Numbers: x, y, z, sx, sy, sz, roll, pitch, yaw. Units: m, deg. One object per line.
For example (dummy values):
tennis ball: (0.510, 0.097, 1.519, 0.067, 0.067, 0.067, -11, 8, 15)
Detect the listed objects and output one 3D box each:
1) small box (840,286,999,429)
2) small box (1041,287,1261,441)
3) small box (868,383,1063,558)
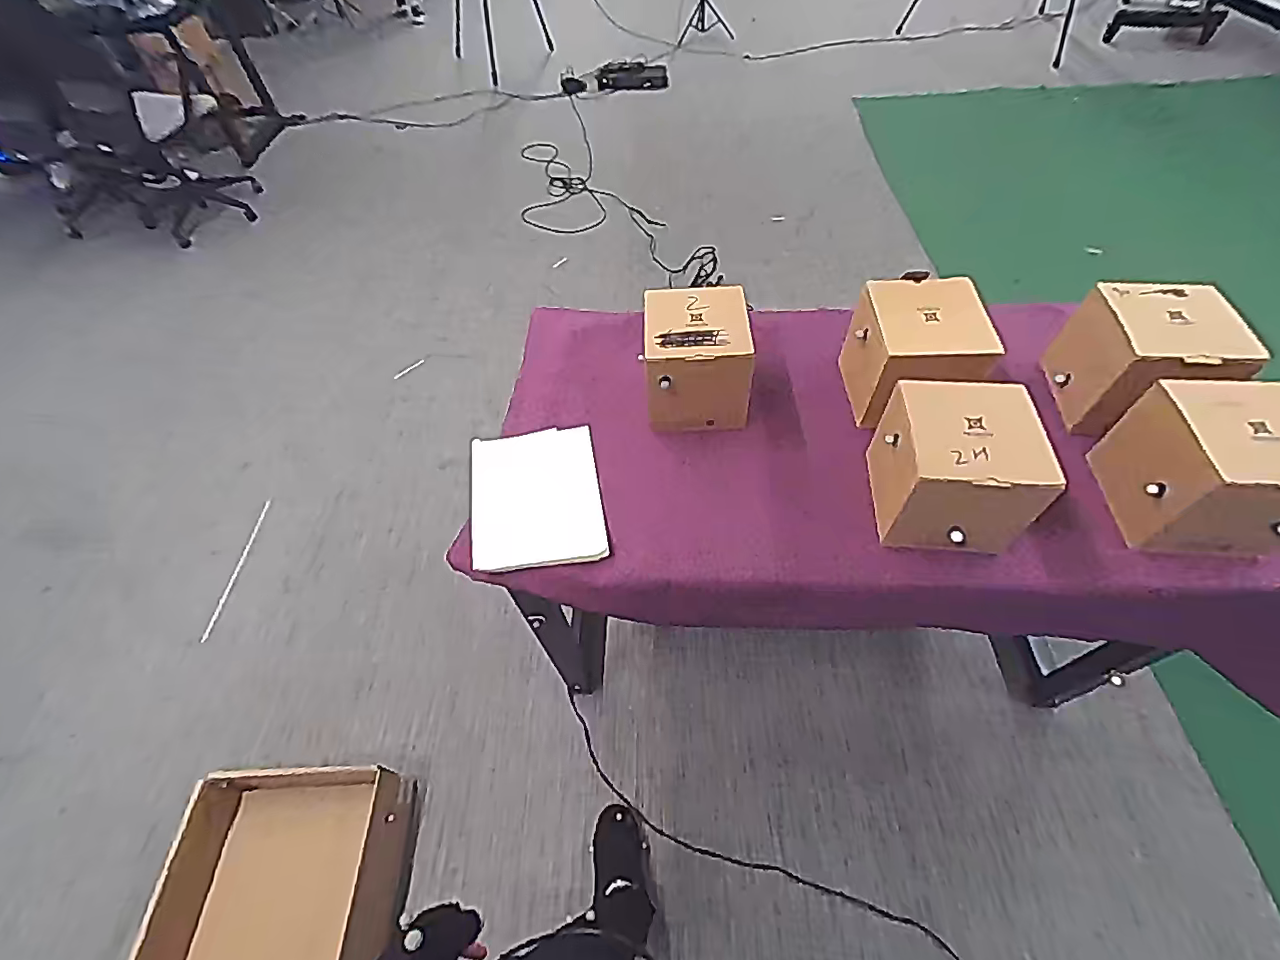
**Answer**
small box: (0.446, -0.196, 0.896, 0.168, 0.176, 0.179, -1, 53, 4)
small box: (0.783, -0.179, 0.856, 0.168, 0.176, 0.179, 5, 55, 8)
small box: (0.433, -0.013, 0.759, 0.168, 0.176, 0.179, 4, 54, 7)
